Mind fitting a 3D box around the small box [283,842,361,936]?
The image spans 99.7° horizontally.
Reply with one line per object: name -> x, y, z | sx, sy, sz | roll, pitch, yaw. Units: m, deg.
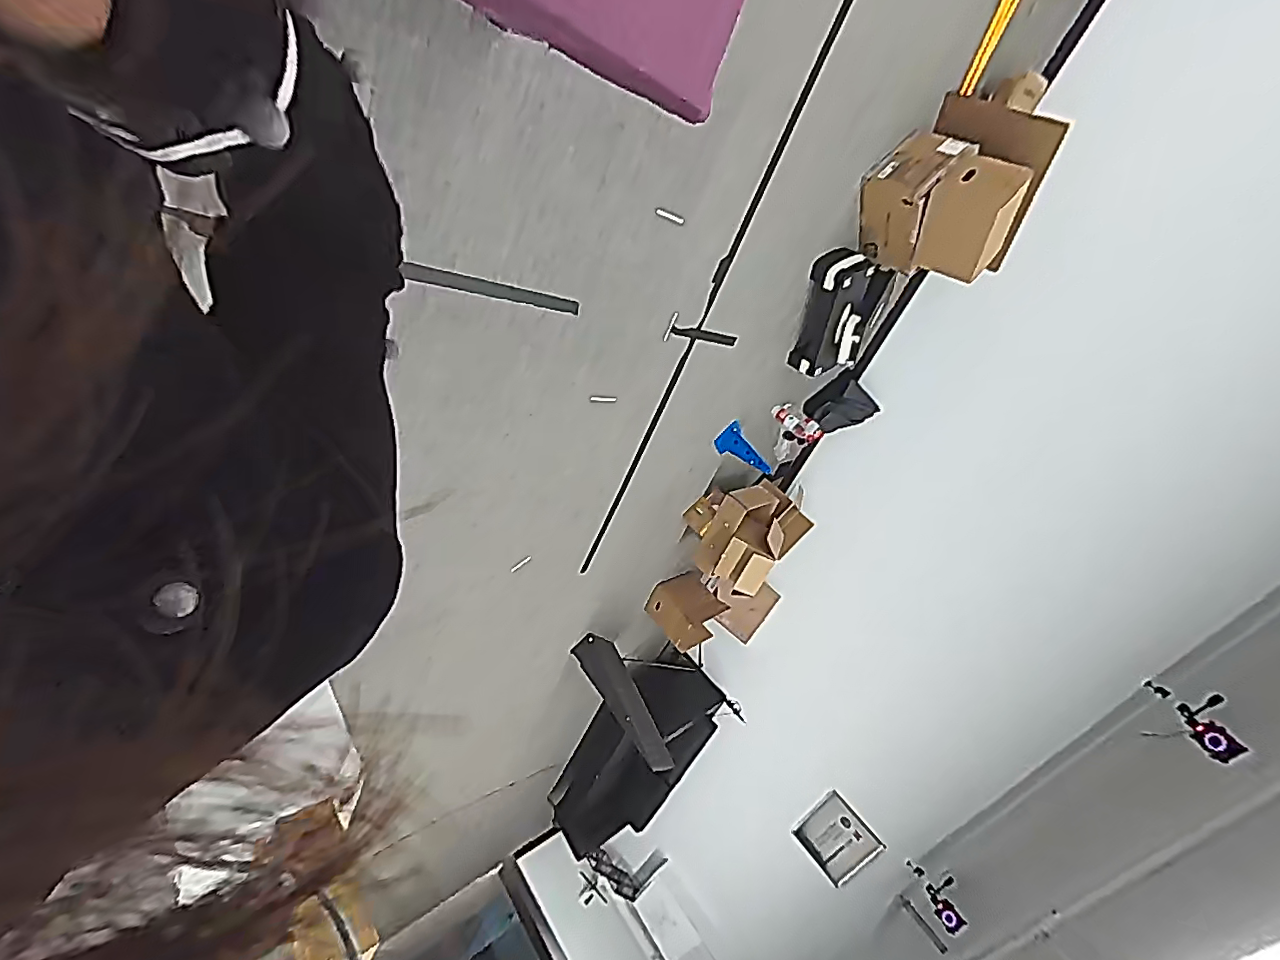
small box -> -1.050, 1.344, 1.777 | 0.168, 0.176, 0.179 | -3, 130, -50

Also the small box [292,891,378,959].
small box -> -0.955, 1.442, 1.687 | 0.179, 0.176, 0.168 | -4, 131, -48
